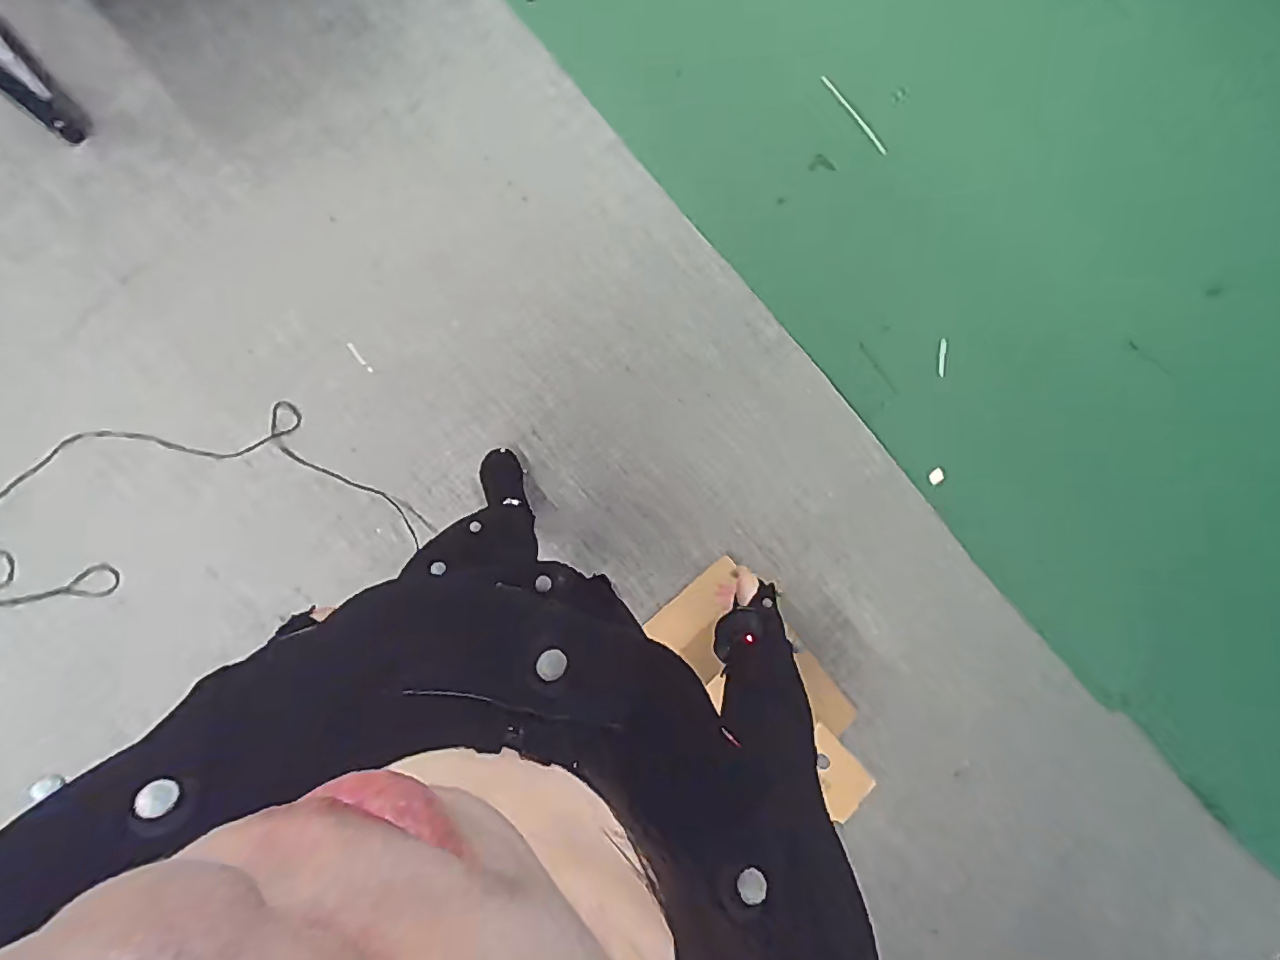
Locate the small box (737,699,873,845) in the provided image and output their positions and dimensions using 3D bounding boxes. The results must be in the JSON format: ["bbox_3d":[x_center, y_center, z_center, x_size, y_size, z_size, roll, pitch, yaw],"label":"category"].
[{"bbox_3d":[0.335,0.595,1.129,0.168,0.176,0.179,-43,92,-9],"label":"small box"}]

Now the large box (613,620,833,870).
[{"bbox_3d":[0.186,0.622,1.354,0.408,0.320,0.320,-41,91,-7],"label":"large box"}]
